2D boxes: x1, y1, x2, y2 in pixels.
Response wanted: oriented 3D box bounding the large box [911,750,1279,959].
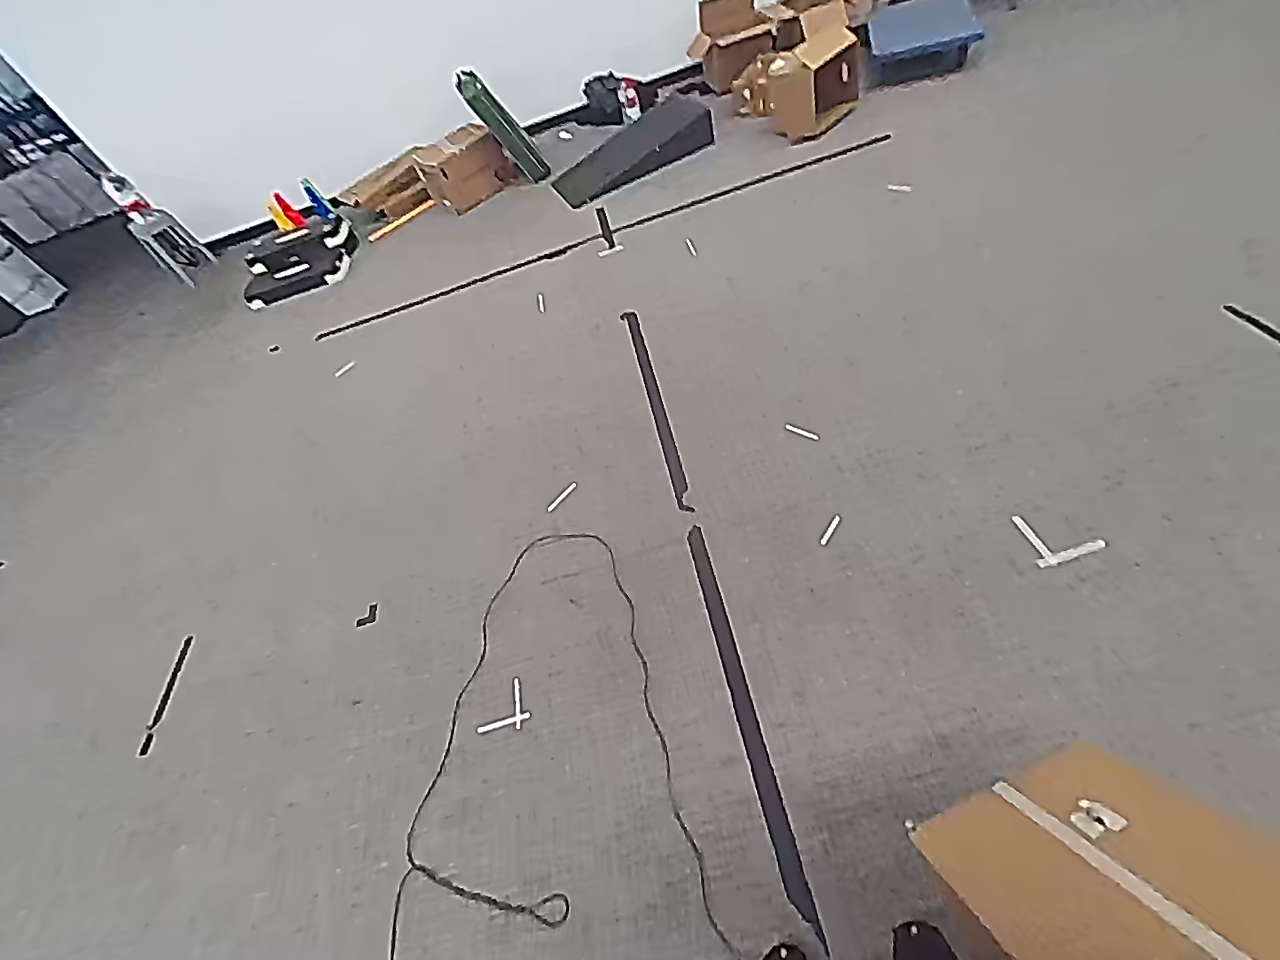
[{"bbox_3d":[0.618,0.600,0.622,0.320,0.408,0.320,-25,86,-3],"label":"large box"}]
